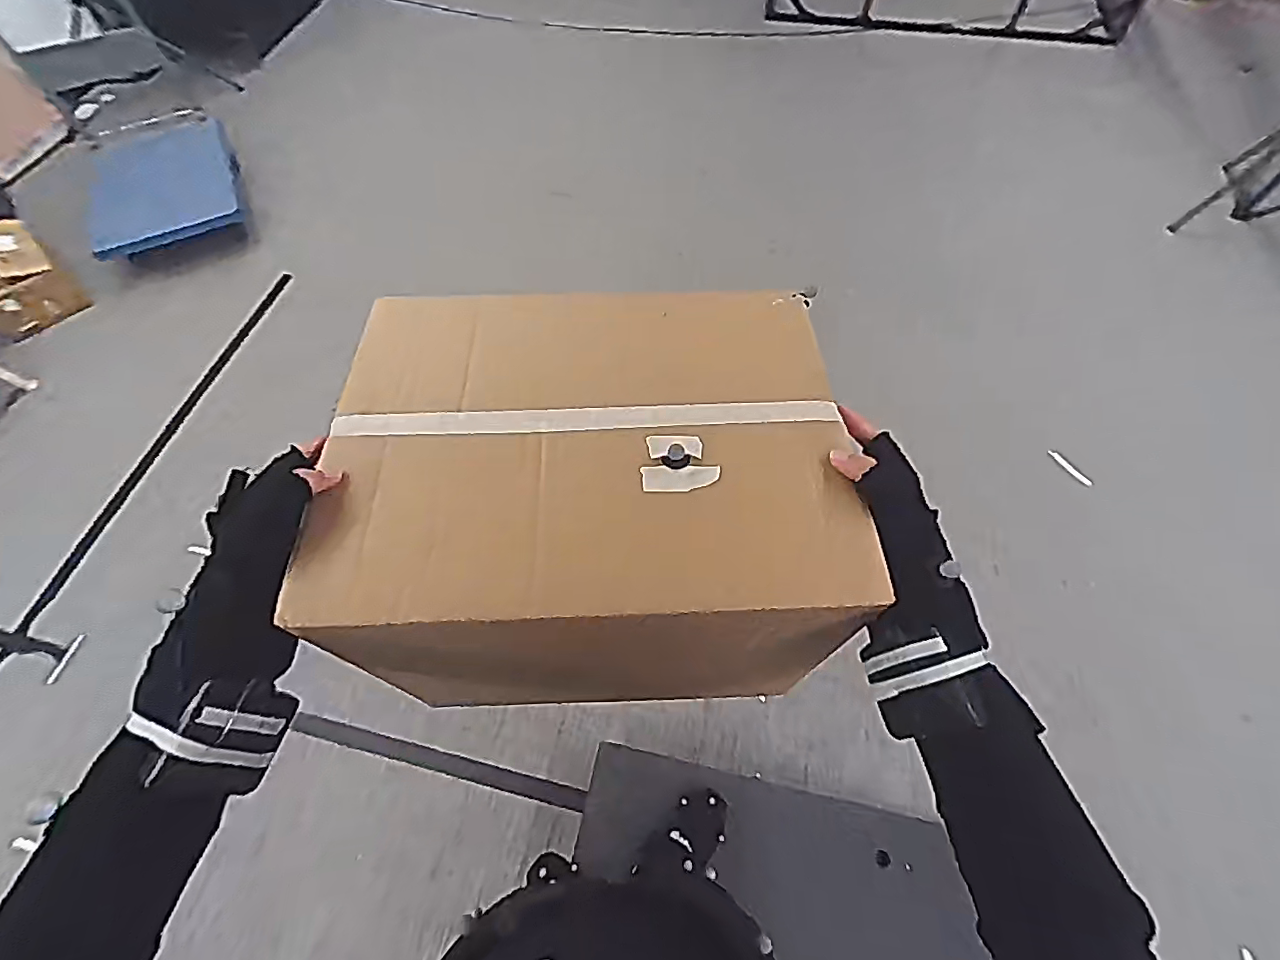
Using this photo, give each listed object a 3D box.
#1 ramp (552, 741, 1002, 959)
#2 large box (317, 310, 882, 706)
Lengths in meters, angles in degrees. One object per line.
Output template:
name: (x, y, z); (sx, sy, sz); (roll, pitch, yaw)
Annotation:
ramp: (0.335, 0.957, 1.208); (0.991, 0.206, 0.509); (8, 61, 6)
large box: (-0.034, 0.044, 0.578); (0.408, 0.320, 0.320); (-1, 58, -1)
